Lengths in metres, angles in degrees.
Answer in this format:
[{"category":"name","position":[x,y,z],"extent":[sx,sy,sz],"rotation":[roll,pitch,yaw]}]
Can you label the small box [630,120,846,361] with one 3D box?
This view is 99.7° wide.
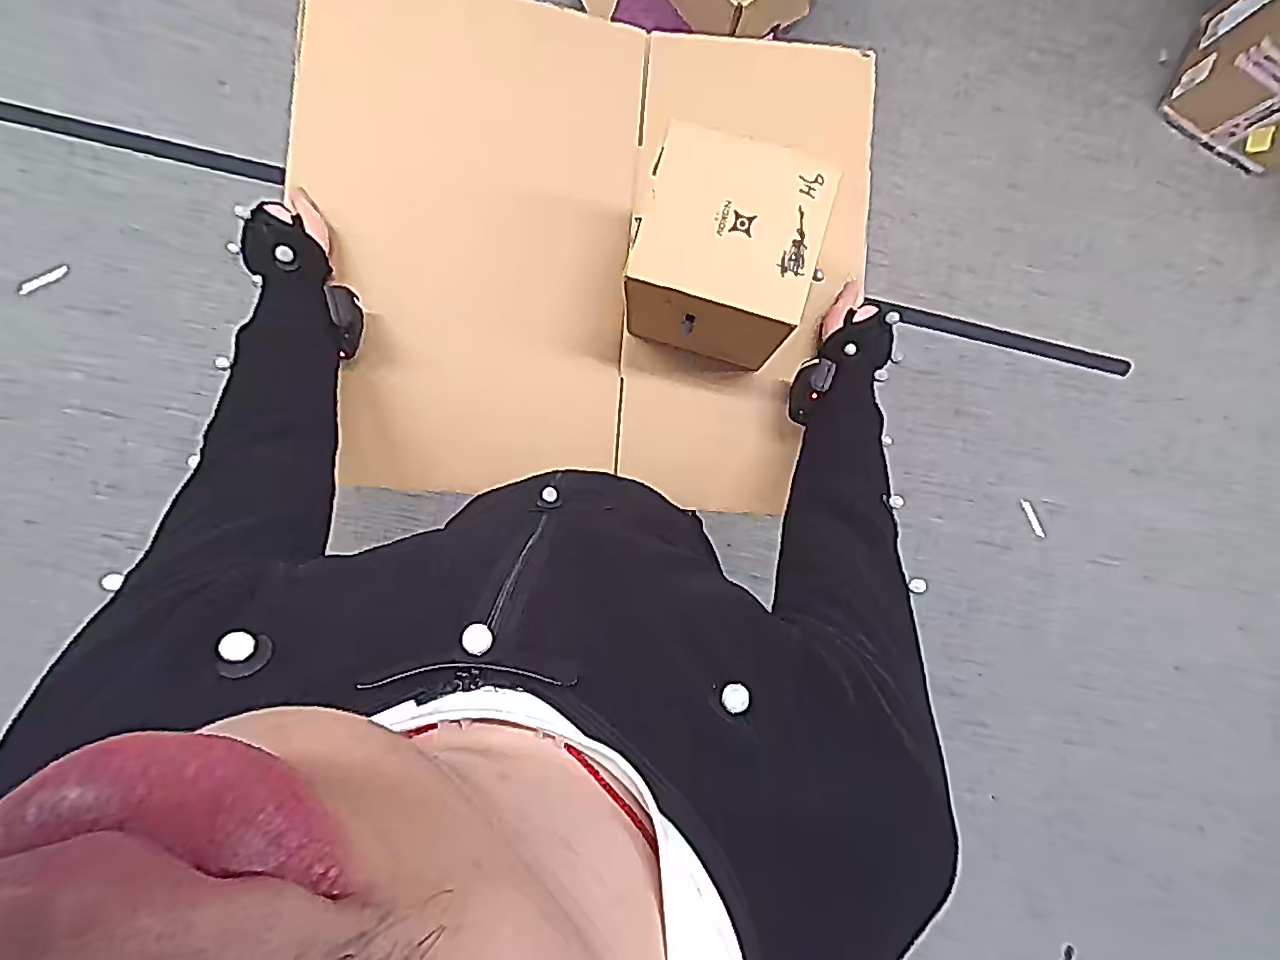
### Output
[{"category":"small box","position":[0.097,-0.248,0.603],"extent":[0.179,0.176,0.168],"rotation":[17,87,1]}]
